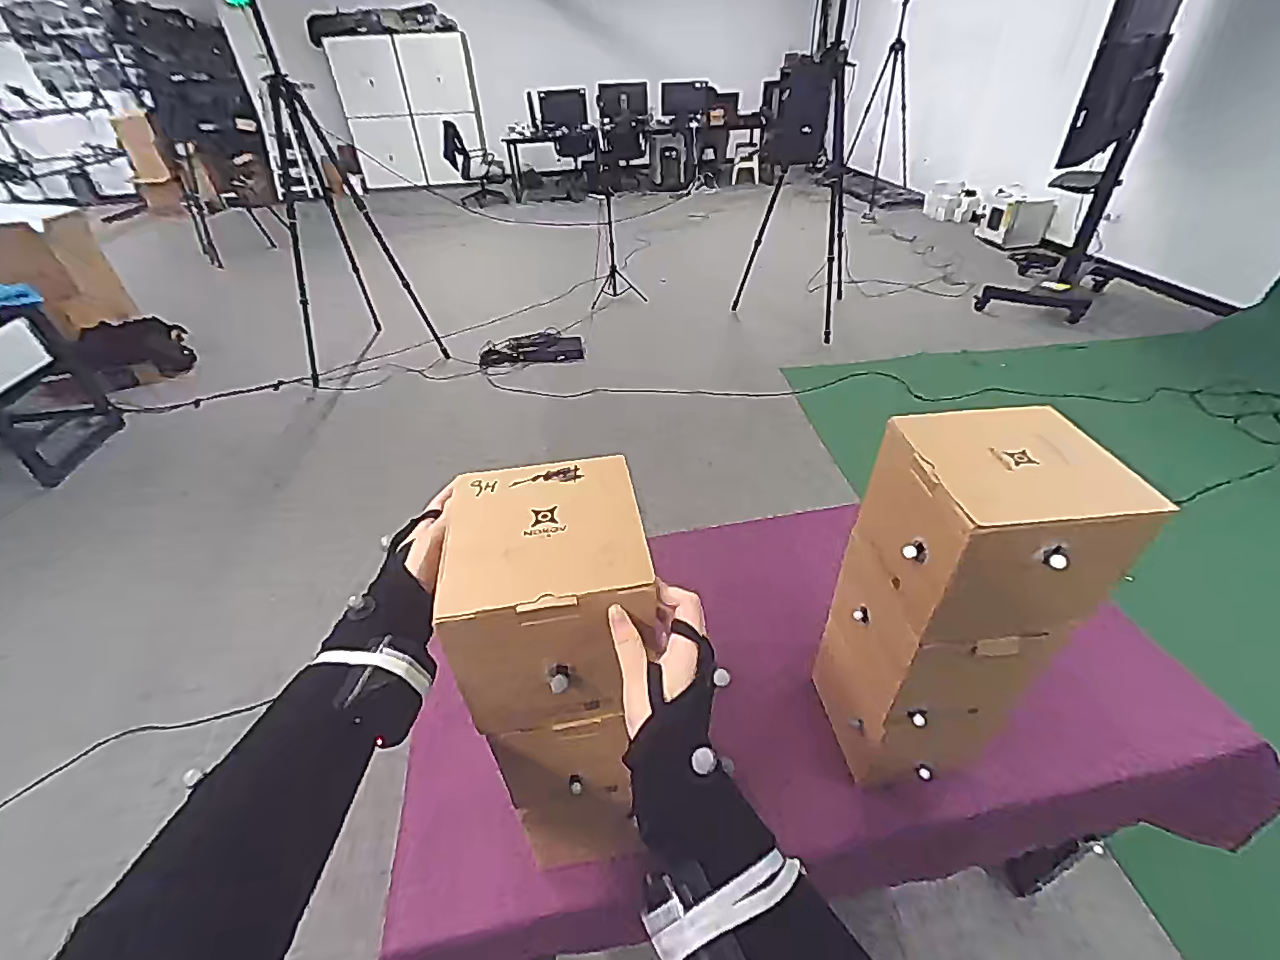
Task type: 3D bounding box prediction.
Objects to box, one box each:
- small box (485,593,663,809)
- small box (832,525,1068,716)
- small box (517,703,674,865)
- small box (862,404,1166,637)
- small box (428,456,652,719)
[{"bbox_3d":[-0.067,0.234,0.609,0.168,0.176,0.179,-6,38,-4],"label":"small box"},{"bbox_3d":[0.351,0.166,0.655,0.168,0.176,0.179,-6,38,-2],"label":"small box"},{"bbox_3d":[-0.054,0.368,0.703,0.179,0.176,0.168,-7,37,-4],"label":"small box"},{"bbox_3d":[0.345,0.042,0.550,0.179,0.176,0.168,-5,40,-1],"label":"small box"},{"bbox_3d":[-0.083,0.103,0.511,0.168,0.176,0.179,-8,39,-6],"label":"small box"}]
